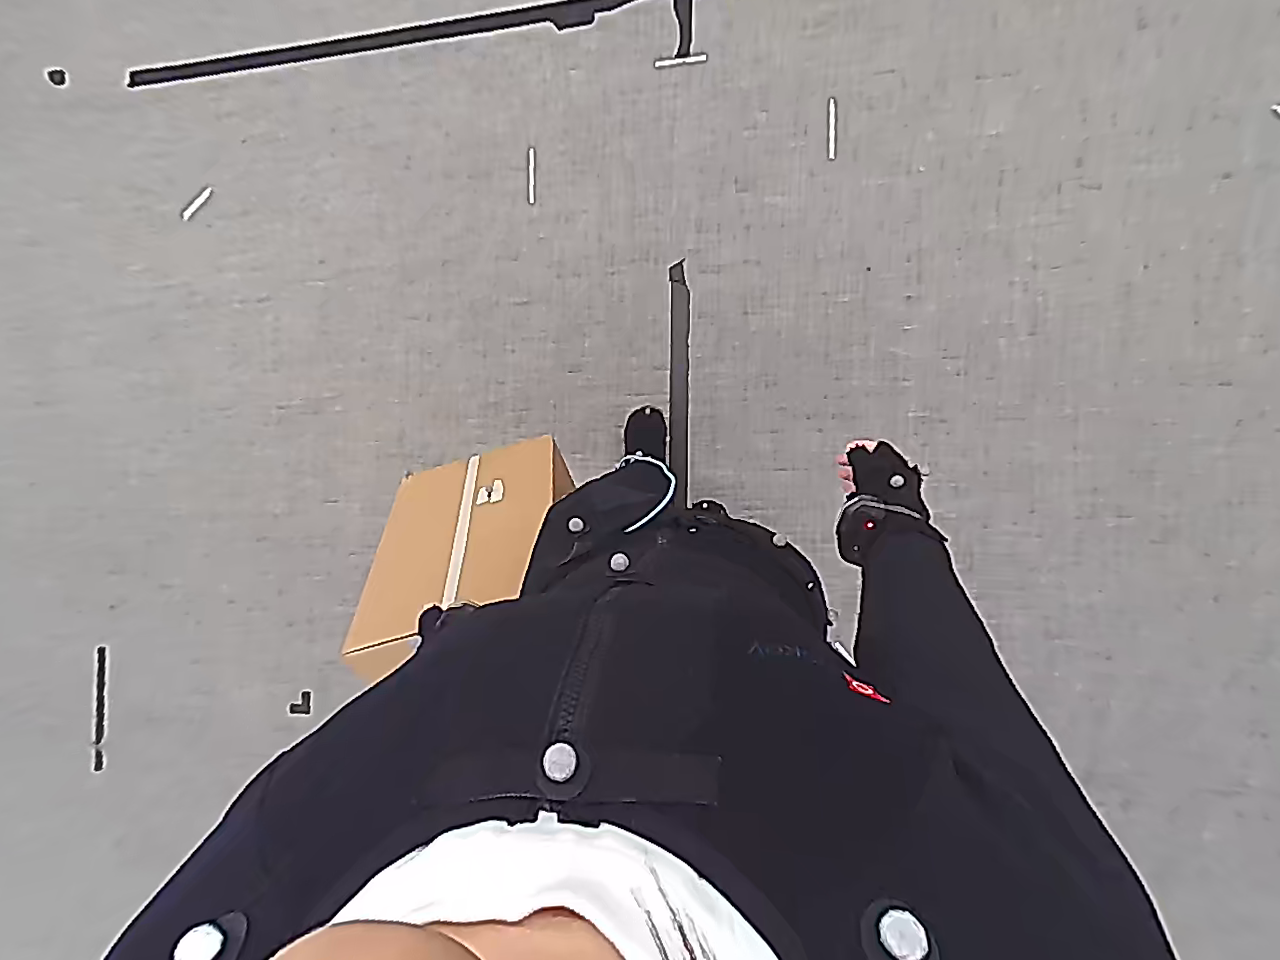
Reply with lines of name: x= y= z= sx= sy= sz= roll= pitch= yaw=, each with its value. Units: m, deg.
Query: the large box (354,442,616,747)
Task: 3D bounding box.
large box: x=-0.248 y=0.197 z=0.996 sx=0.320 sy=0.408 sz=0.320 roll=-15 pitch=128 yaw=3
